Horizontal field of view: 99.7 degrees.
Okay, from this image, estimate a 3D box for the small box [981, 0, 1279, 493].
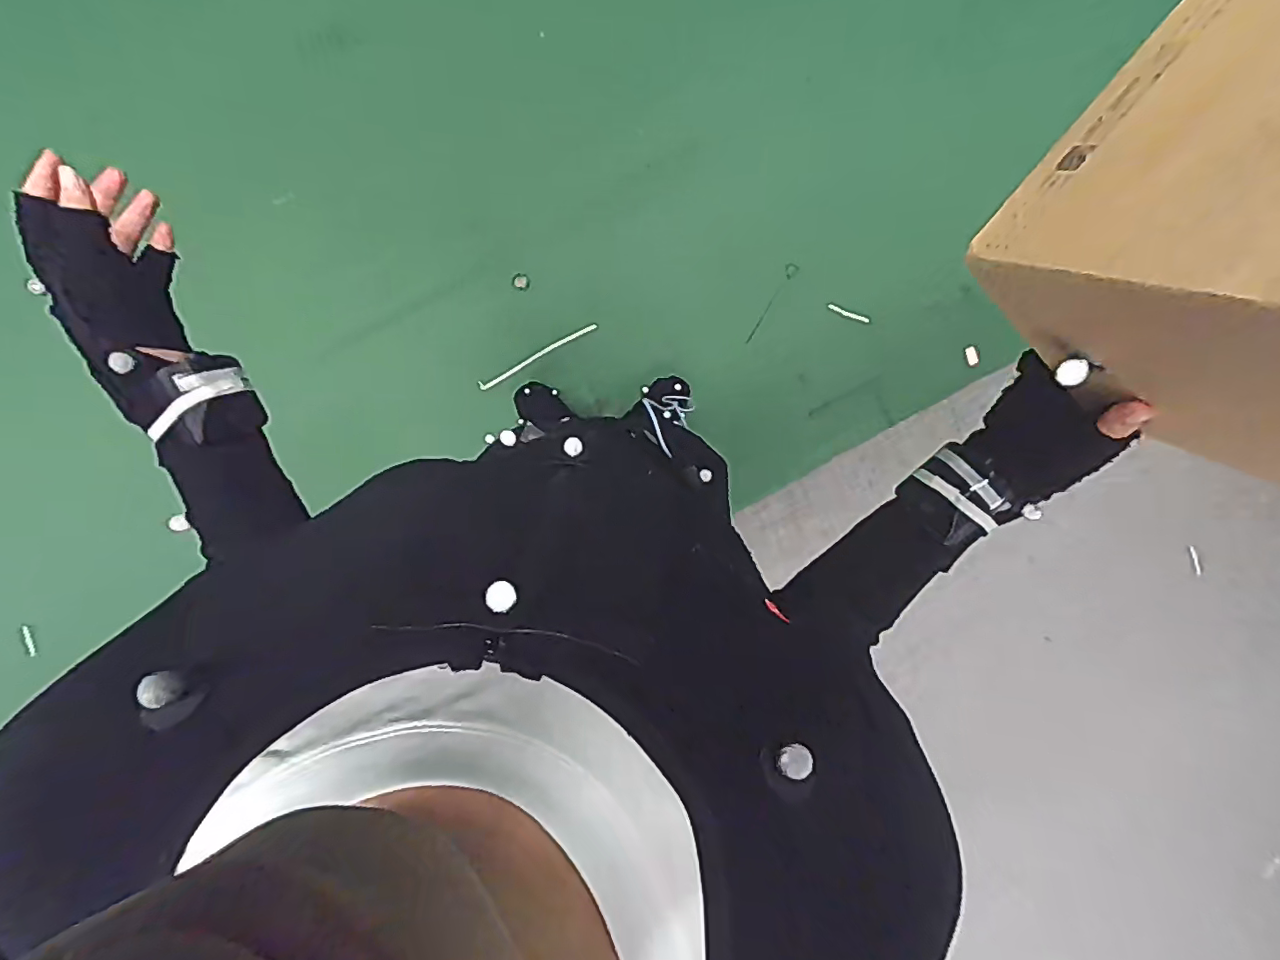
[{"bbox_3d":[0.318,-0.108,0.257,0.179,0.176,0.168,31,107,-27],"label":"small box"}]
